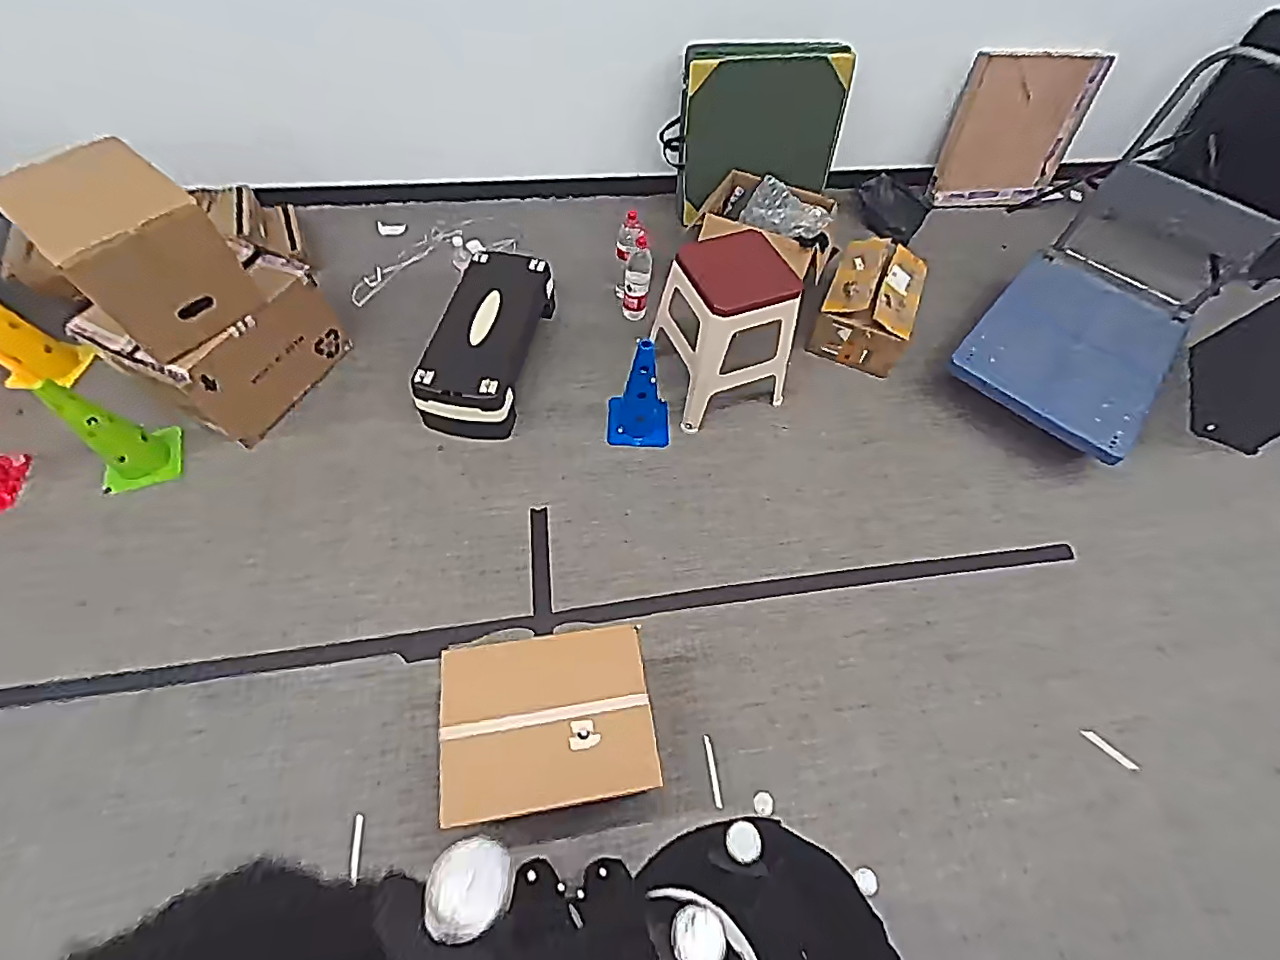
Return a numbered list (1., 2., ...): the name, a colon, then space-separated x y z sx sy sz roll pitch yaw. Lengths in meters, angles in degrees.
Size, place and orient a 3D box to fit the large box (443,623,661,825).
1. large box: -0.193 0.536 1.183 0.408 0.320 0.320 -5 60 -9
